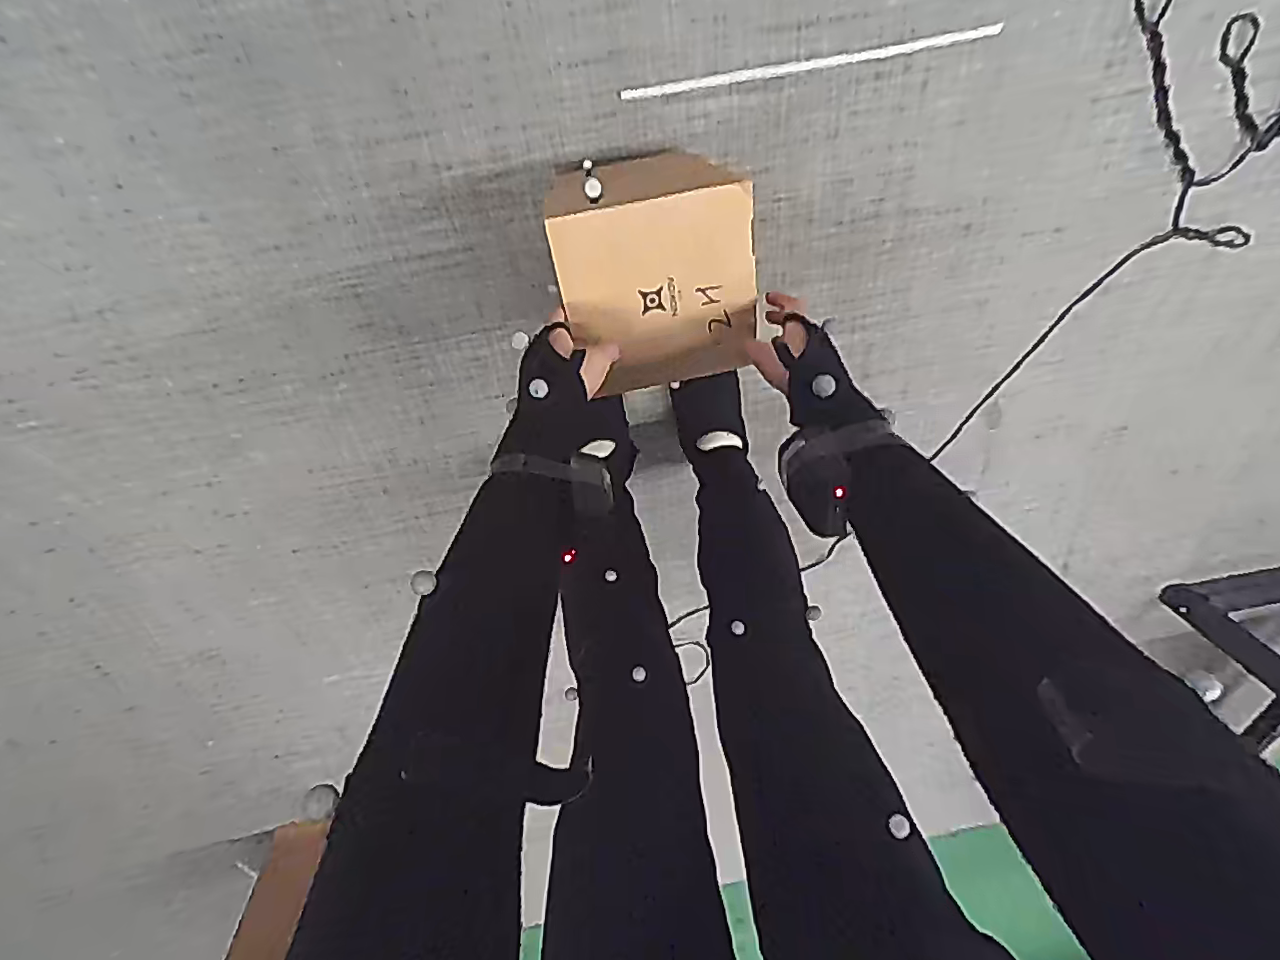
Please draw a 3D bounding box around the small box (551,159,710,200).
[{"bbox_3d":[-0.008,-0.298,0.688,0.179,0.176,0.168,-12,124,-1],"label":"small box"}]

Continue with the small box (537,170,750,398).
[{"bbox_3d":[0.003,-0.206,0.552,0.179,0.176,0.168,-12,125,-1],"label":"small box"}]
